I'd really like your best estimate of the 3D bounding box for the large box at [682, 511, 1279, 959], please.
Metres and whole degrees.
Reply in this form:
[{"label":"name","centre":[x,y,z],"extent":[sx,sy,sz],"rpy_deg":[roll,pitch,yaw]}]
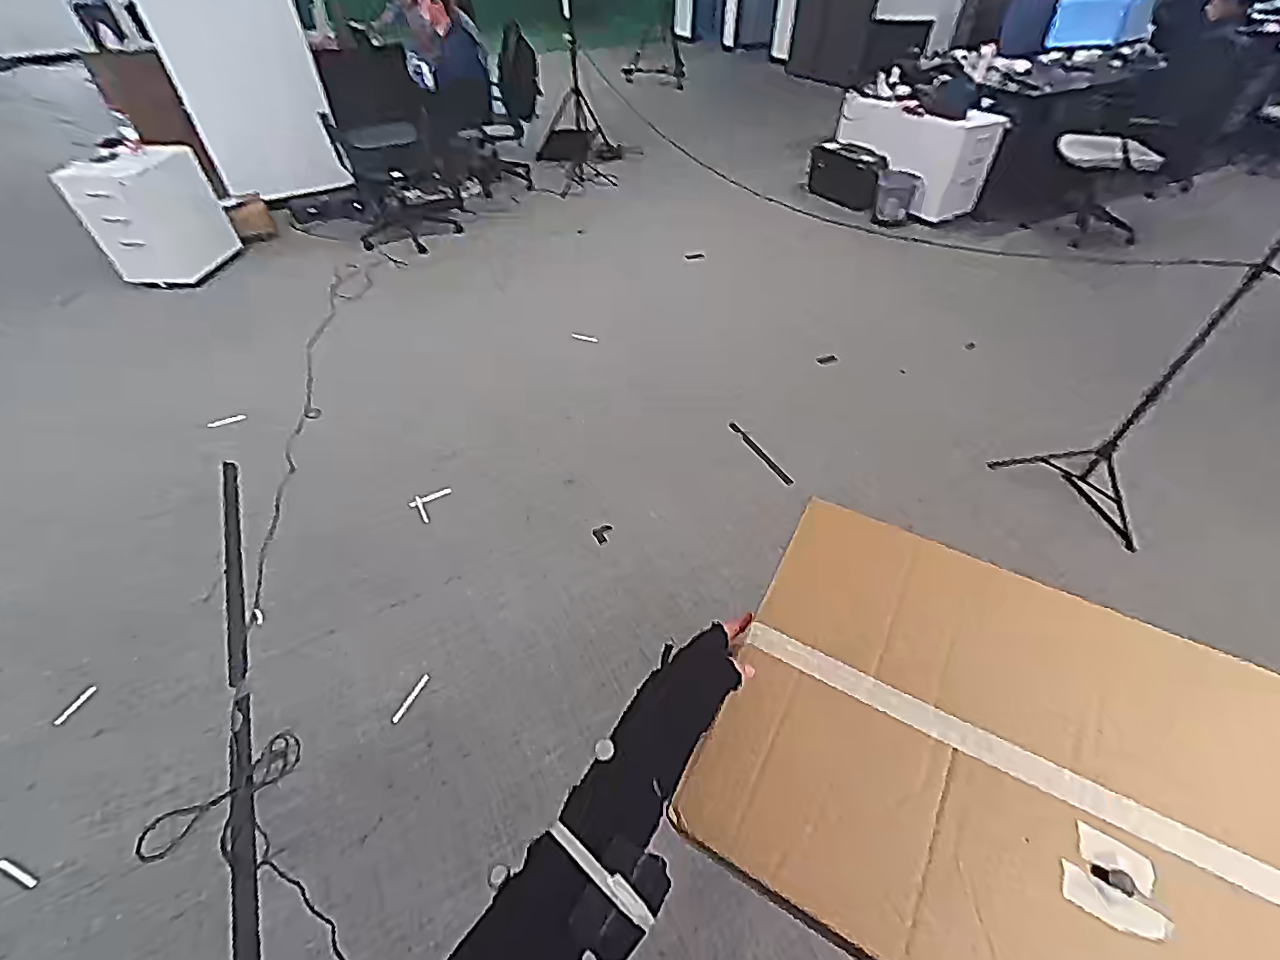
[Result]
[{"label":"large box","centre":[0.284,0.295,0.529],"extent":[0.408,0.320,0.320],"rpy_deg":[23,61,21]}]
